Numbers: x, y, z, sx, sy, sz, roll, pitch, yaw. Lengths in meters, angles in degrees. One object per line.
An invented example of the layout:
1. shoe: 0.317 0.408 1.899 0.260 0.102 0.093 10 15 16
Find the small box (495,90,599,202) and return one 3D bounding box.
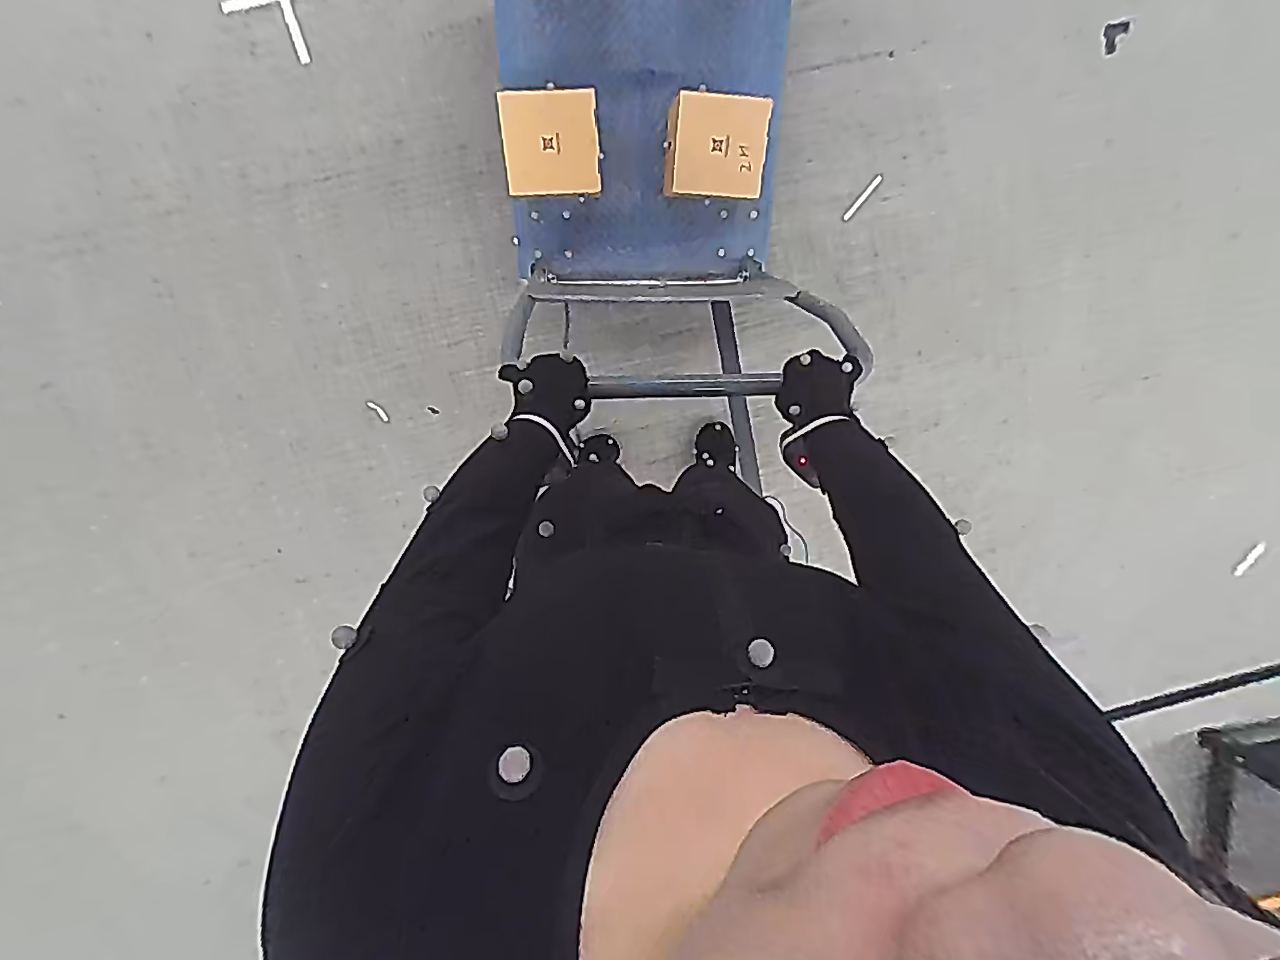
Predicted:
1. small box: -0.174 -0.646 1.062 0.179 0.176 0.168 -6 115 -4

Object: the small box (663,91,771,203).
1. small box: 0.143 -0.657 1.085 0.179 0.176 0.168 1 115 -6
